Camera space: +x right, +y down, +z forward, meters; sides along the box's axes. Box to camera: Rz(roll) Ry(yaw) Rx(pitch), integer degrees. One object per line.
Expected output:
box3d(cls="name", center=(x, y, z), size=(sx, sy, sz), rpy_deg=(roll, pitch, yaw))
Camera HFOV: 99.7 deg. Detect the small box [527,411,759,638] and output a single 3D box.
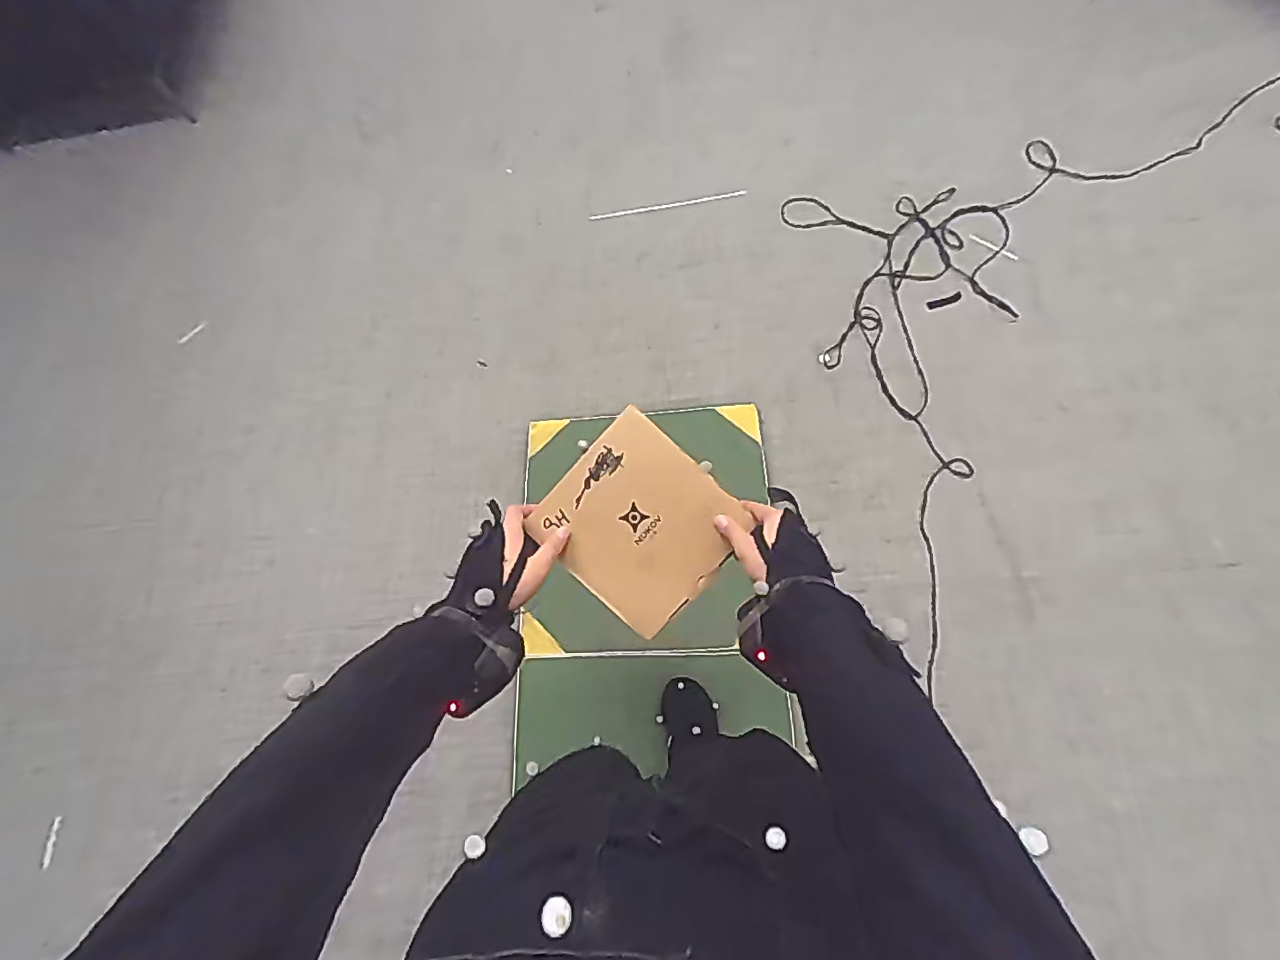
box3d(cls="small box", center=(0.005, 0.041, 0.618), size=(0.179, 0.176, 0.168), rpy_deg=(43, 92, -1))
